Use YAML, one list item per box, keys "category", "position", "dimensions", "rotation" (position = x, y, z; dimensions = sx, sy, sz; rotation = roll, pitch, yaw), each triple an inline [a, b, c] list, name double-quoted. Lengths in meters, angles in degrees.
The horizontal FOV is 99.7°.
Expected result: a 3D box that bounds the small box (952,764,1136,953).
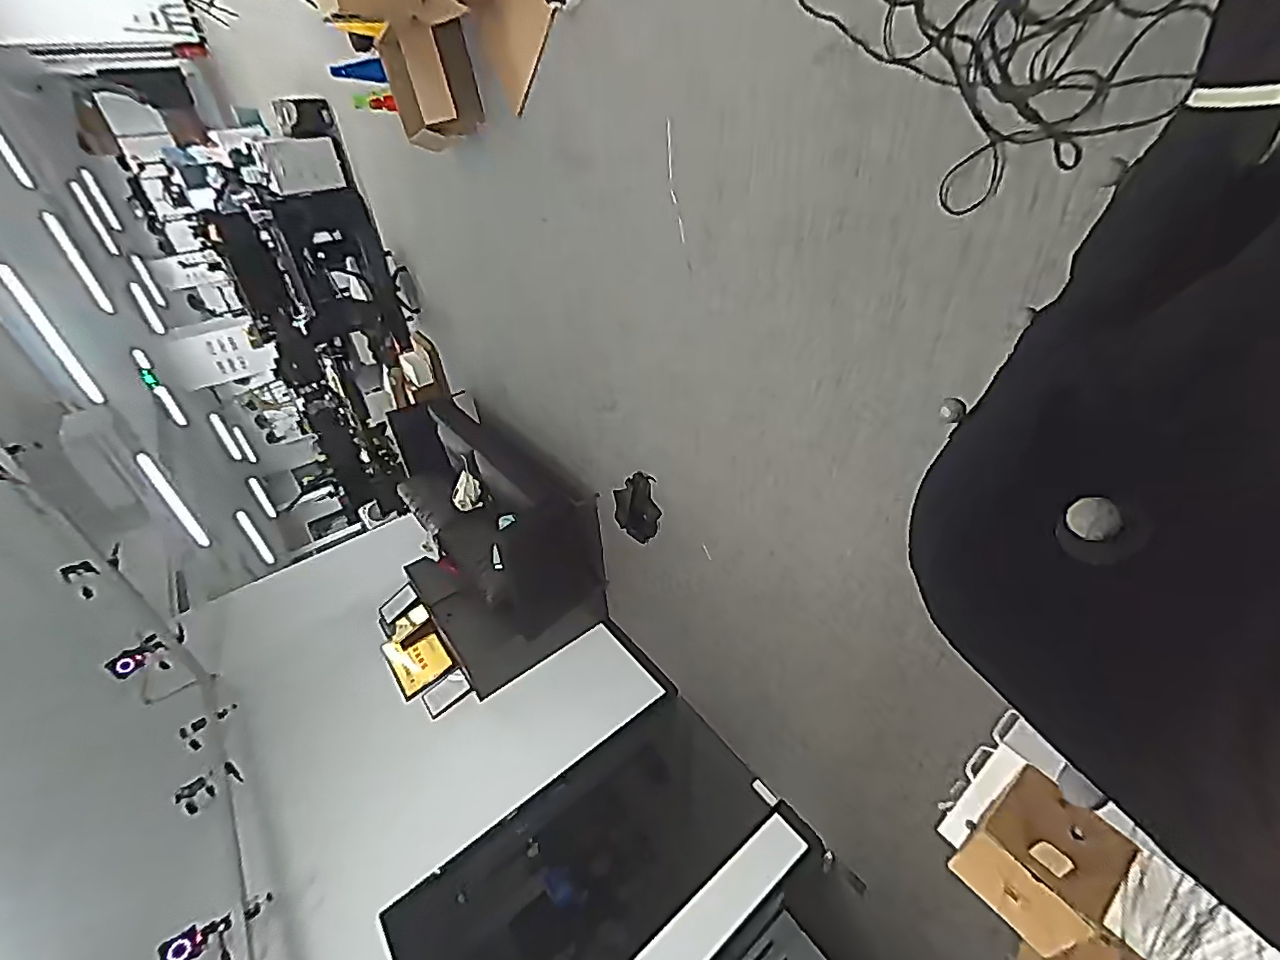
- category: "small box"
  position: [0.665, 0.620, 0.898]
  dimensions: [0.168, 0.176, 0.179]
  rotation: [38, 144, 39]
